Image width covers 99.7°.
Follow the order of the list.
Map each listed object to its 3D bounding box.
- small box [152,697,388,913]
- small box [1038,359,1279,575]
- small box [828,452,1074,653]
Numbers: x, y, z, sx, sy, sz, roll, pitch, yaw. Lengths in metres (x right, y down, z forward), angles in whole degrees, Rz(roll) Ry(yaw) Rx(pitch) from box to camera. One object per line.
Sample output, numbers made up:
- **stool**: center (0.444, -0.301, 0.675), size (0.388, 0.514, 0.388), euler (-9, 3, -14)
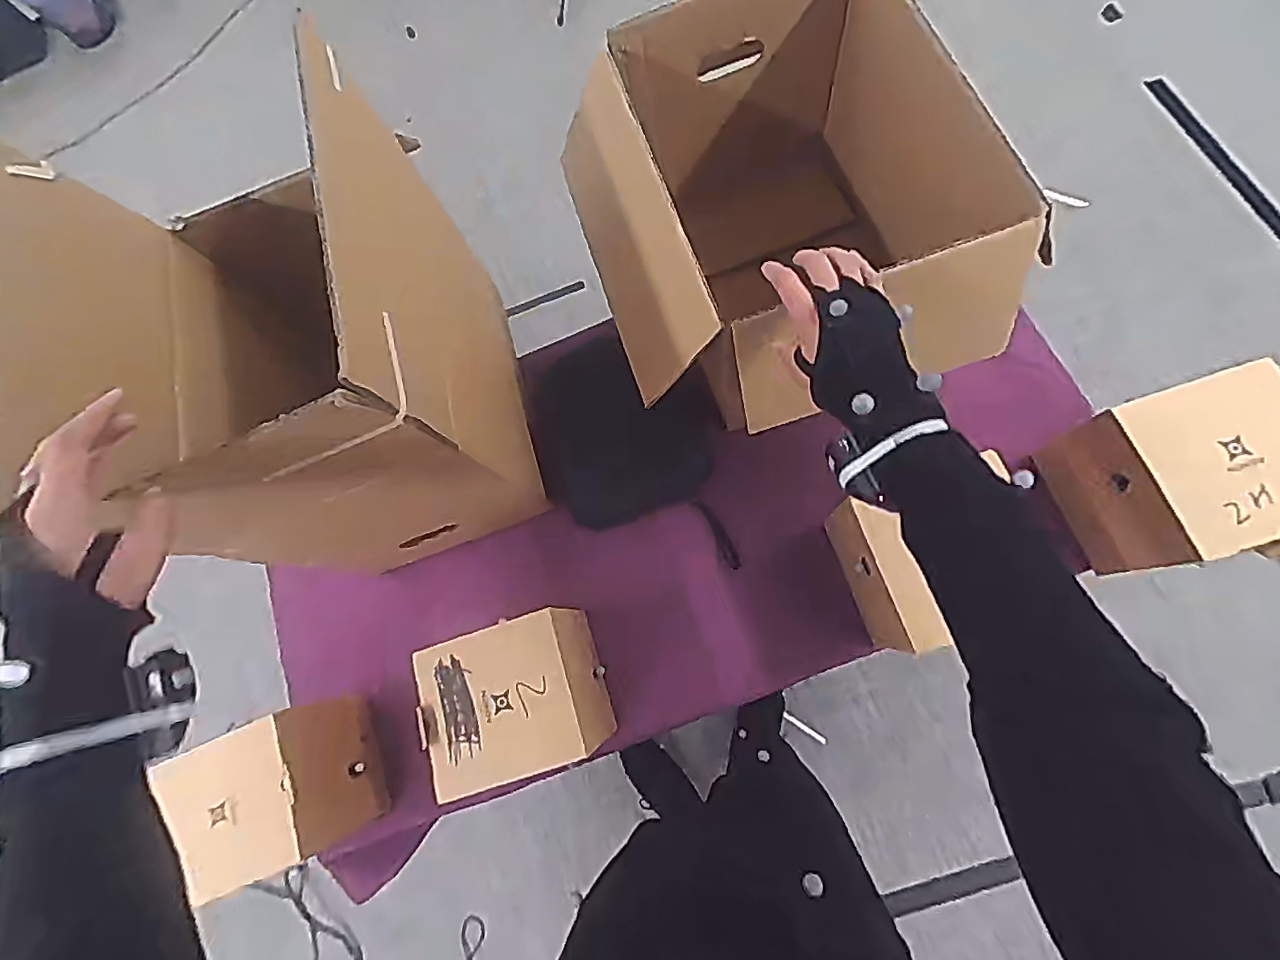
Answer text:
- **small box**: center (-0.465, 0.400, 0.698), size (0.179, 0.176, 0.168), euler (-24, 73, 1)
- **small box**: center (0.608, -0.002, 0.615), size (0.168, 0.176, 0.179), euler (-19, 73, 5)
- **small box**: center (0.341, 0.093, 0.639), size (0.168, 0.176, 0.179), euler (-19, 74, 5)
